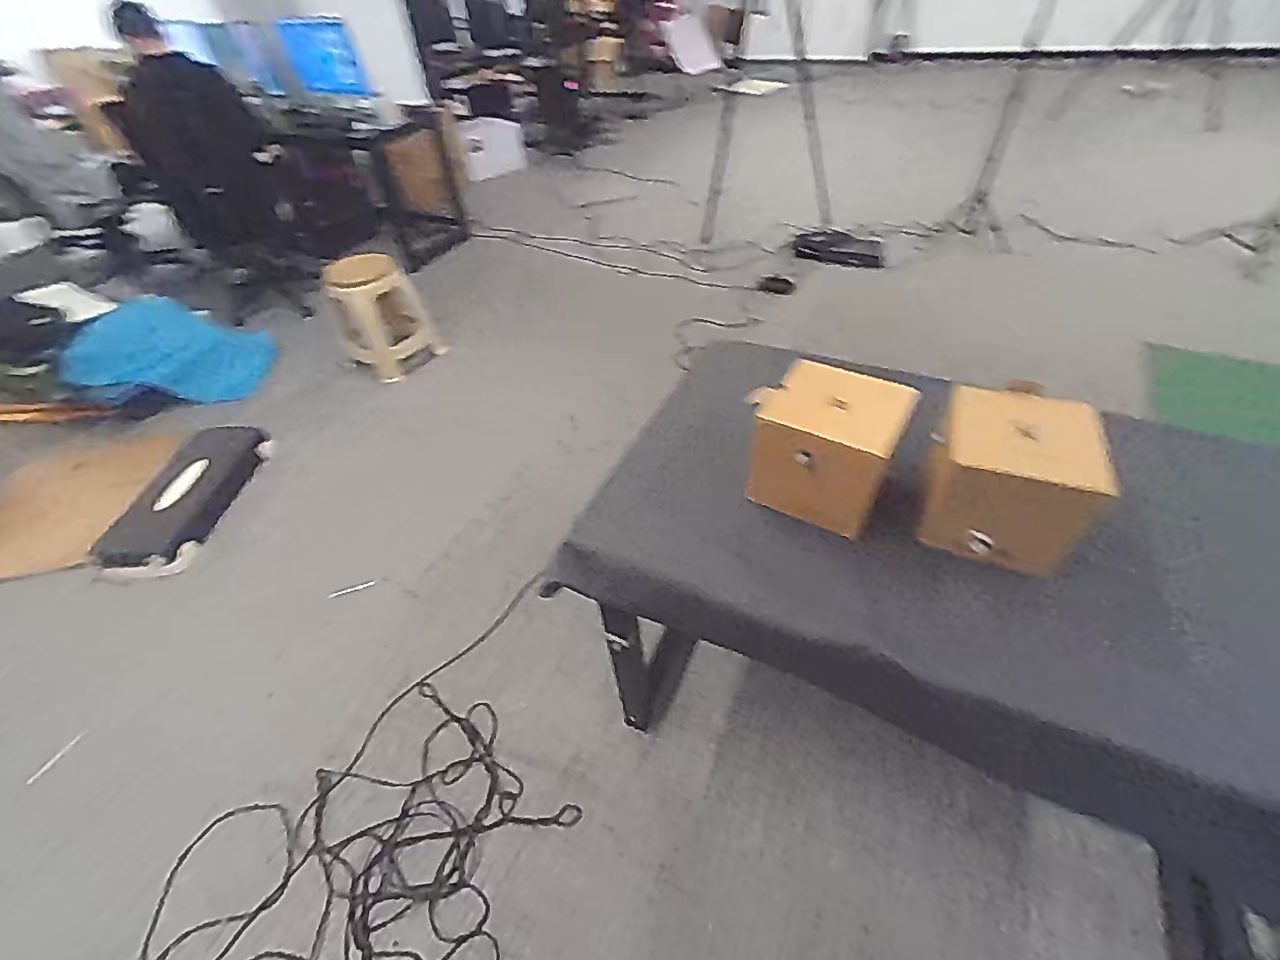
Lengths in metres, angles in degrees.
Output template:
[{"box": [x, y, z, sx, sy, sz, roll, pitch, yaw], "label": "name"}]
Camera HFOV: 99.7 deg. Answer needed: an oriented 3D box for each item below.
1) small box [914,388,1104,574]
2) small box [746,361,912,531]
[{"box": [0.492, -0.001, 0.752, 0.168, 0.176, 0.179, 12, 47, 19], "label": "small box"}, {"box": [0.276, -0.049, 0.815, 0.179, 0.176, 0.168, 22, 50, 26], "label": "small box"}]
